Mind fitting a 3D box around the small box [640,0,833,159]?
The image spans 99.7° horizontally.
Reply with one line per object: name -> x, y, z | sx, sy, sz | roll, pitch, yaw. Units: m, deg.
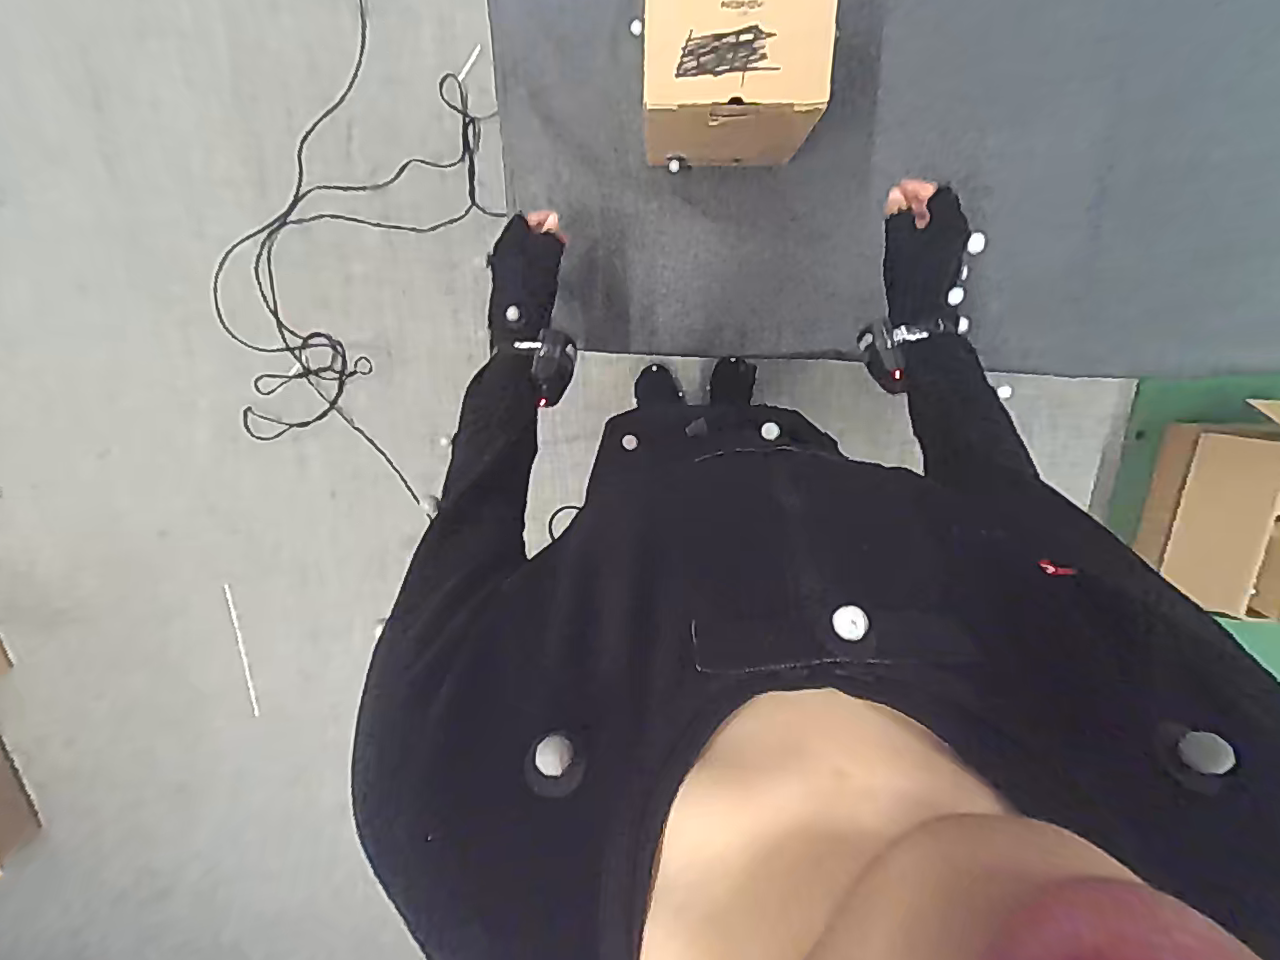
small box -> 0.087, -0.438, 0.538 | 0.168, 0.176, 0.179 | 1, 104, 2
